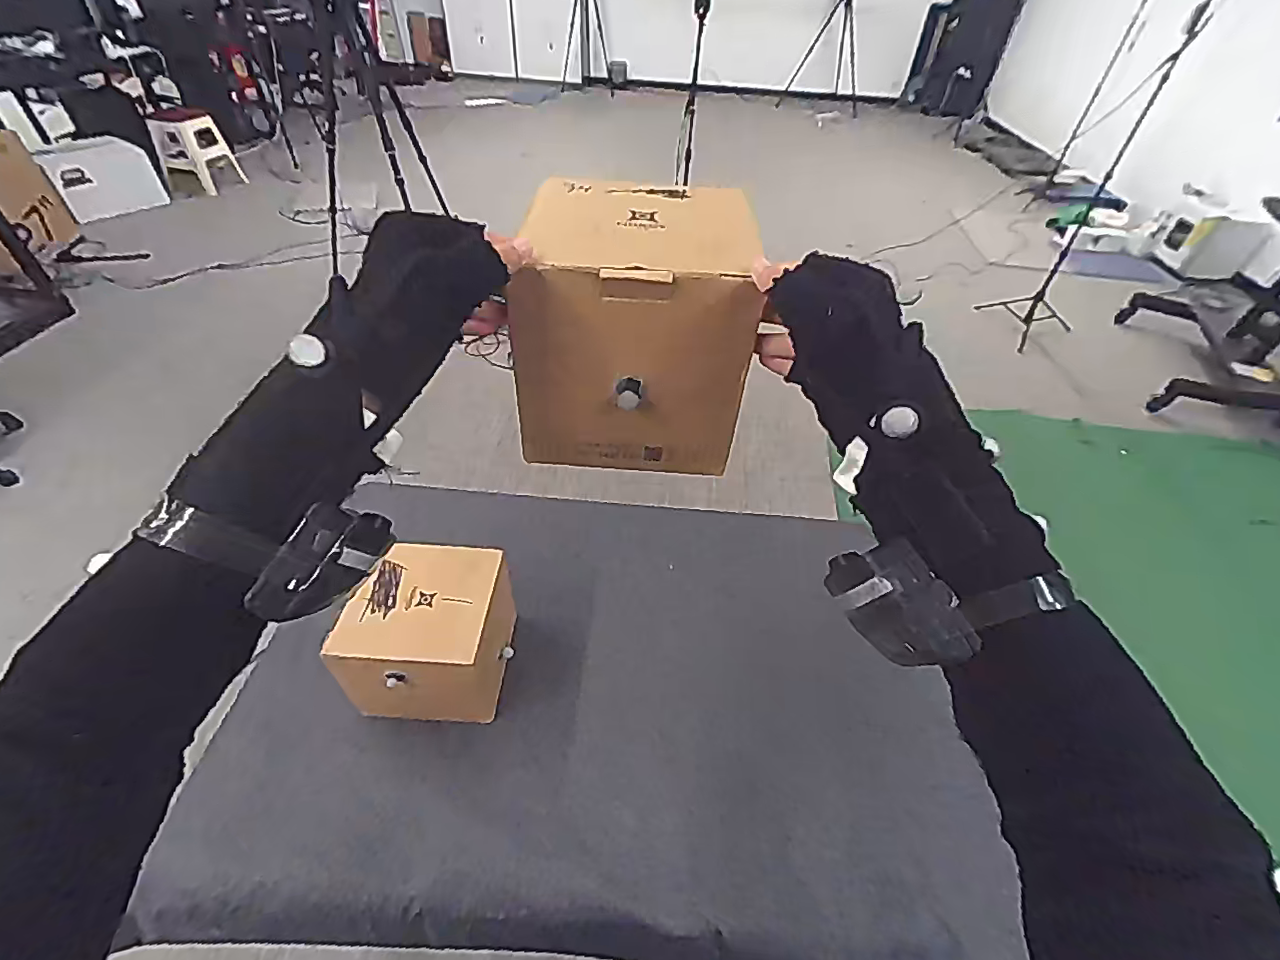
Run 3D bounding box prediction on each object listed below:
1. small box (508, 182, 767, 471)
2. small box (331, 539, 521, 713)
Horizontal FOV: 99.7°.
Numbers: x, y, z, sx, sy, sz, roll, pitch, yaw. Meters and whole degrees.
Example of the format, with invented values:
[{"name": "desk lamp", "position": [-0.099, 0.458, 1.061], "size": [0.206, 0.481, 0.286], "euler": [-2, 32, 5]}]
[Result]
[{"name": "small box", "position": [0.000, -0.125, 0.448], "size": [0.168, 0.176, 0.179], "euler": [4, 45, 0]}, {"name": "small box", "position": [-0.269, 0.199, 0.730], "size": [0.179, 0.176, 0.168], "euler": [5, 45, -1]}]
